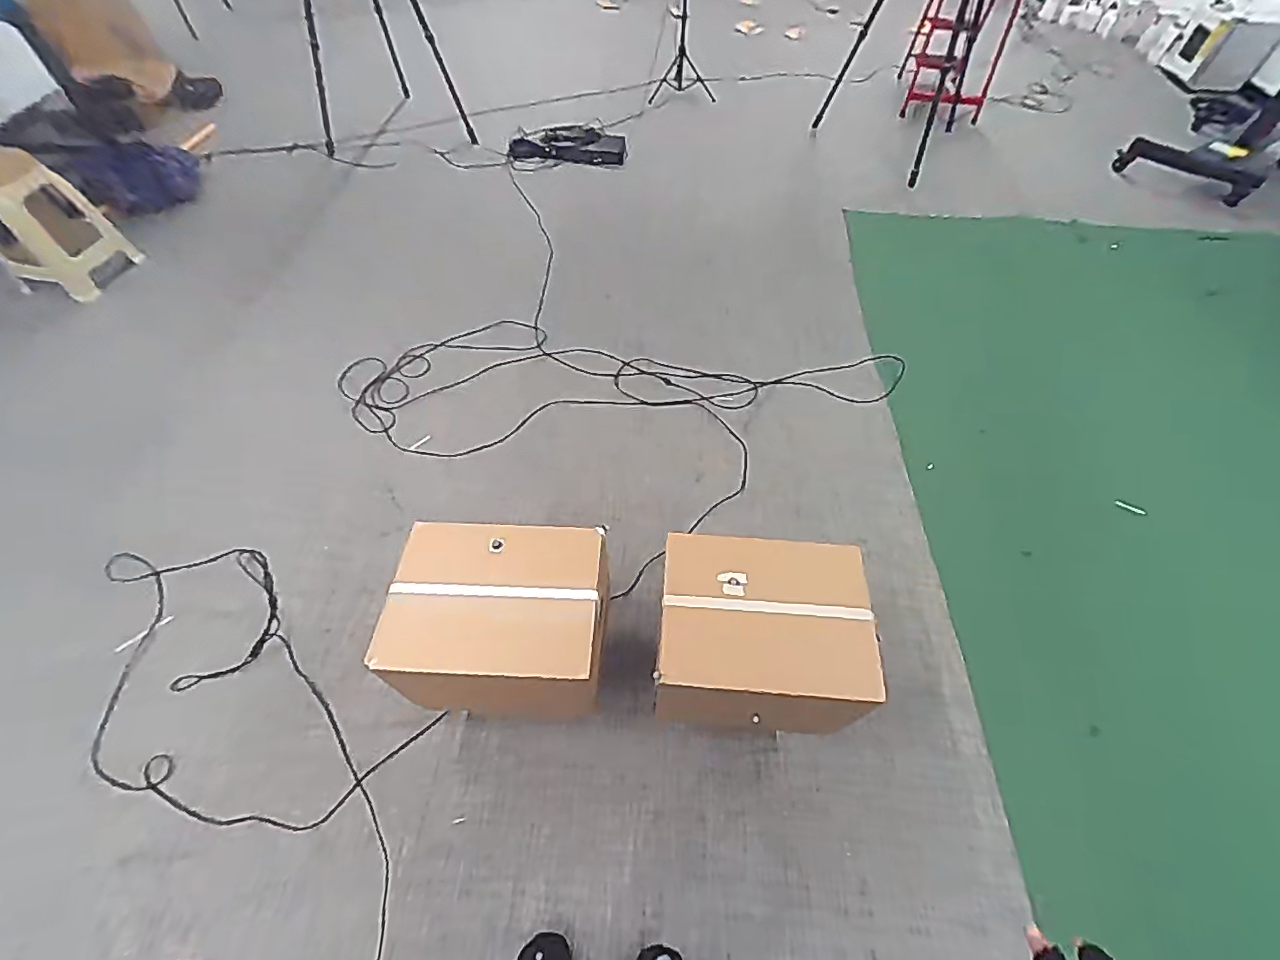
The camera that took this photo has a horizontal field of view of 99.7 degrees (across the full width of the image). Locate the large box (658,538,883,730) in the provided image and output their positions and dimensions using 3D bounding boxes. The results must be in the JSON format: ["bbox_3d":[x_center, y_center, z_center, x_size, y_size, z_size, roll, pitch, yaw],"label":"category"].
[{"bbox_3d":[0.252,0.344,1.181,0.408,0.320,0.320,4,55,3],"label":"large box"}]
